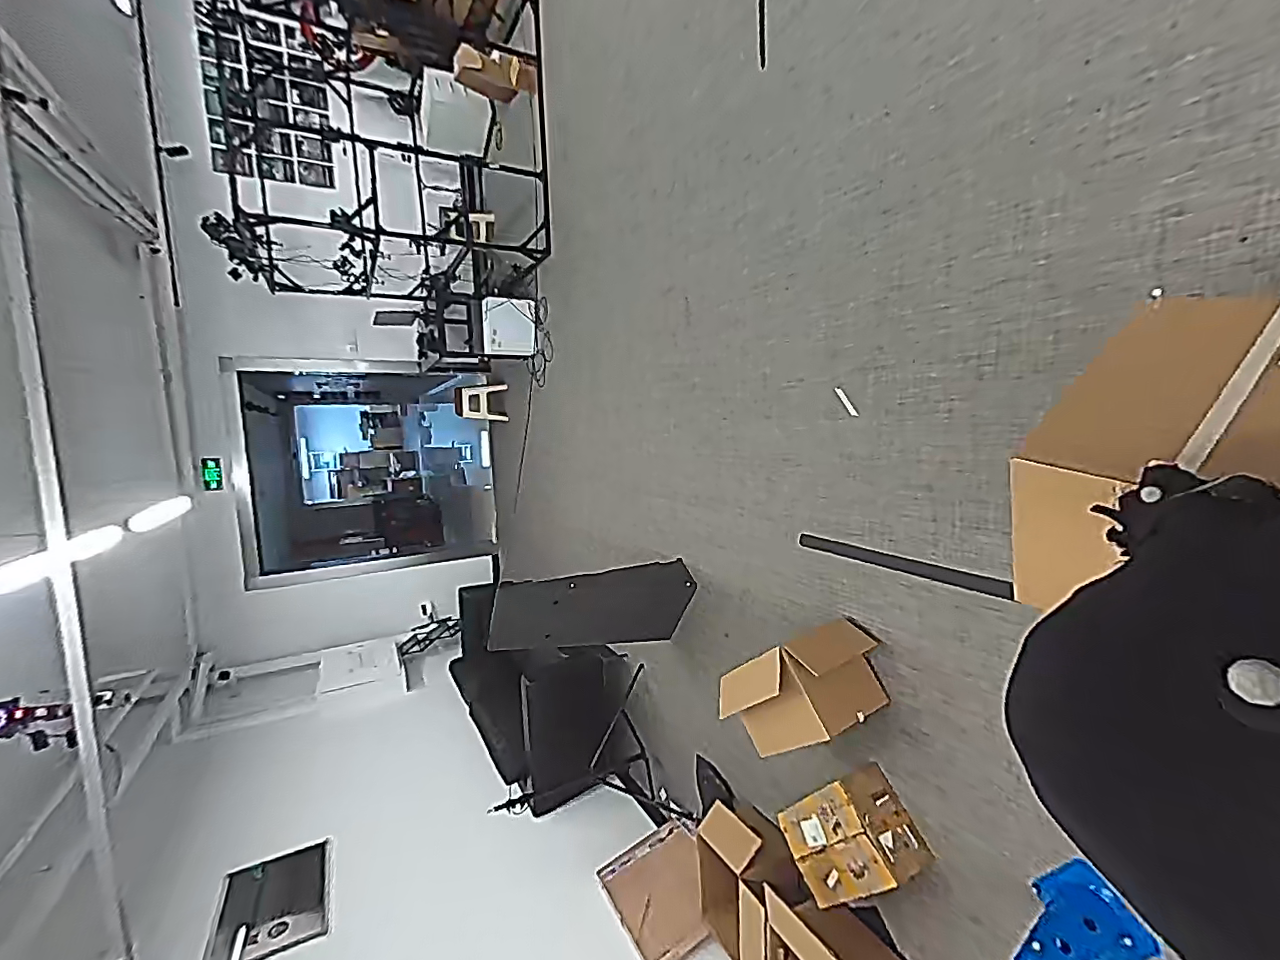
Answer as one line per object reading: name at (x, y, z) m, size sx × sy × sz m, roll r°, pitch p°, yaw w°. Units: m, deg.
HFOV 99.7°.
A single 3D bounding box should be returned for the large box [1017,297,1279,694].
large box at (0.781, -0.003, 0.736) m, size 0.320 × 0.408 × 0.320 m, roll 28°, pitch 152°, yaw 51°
